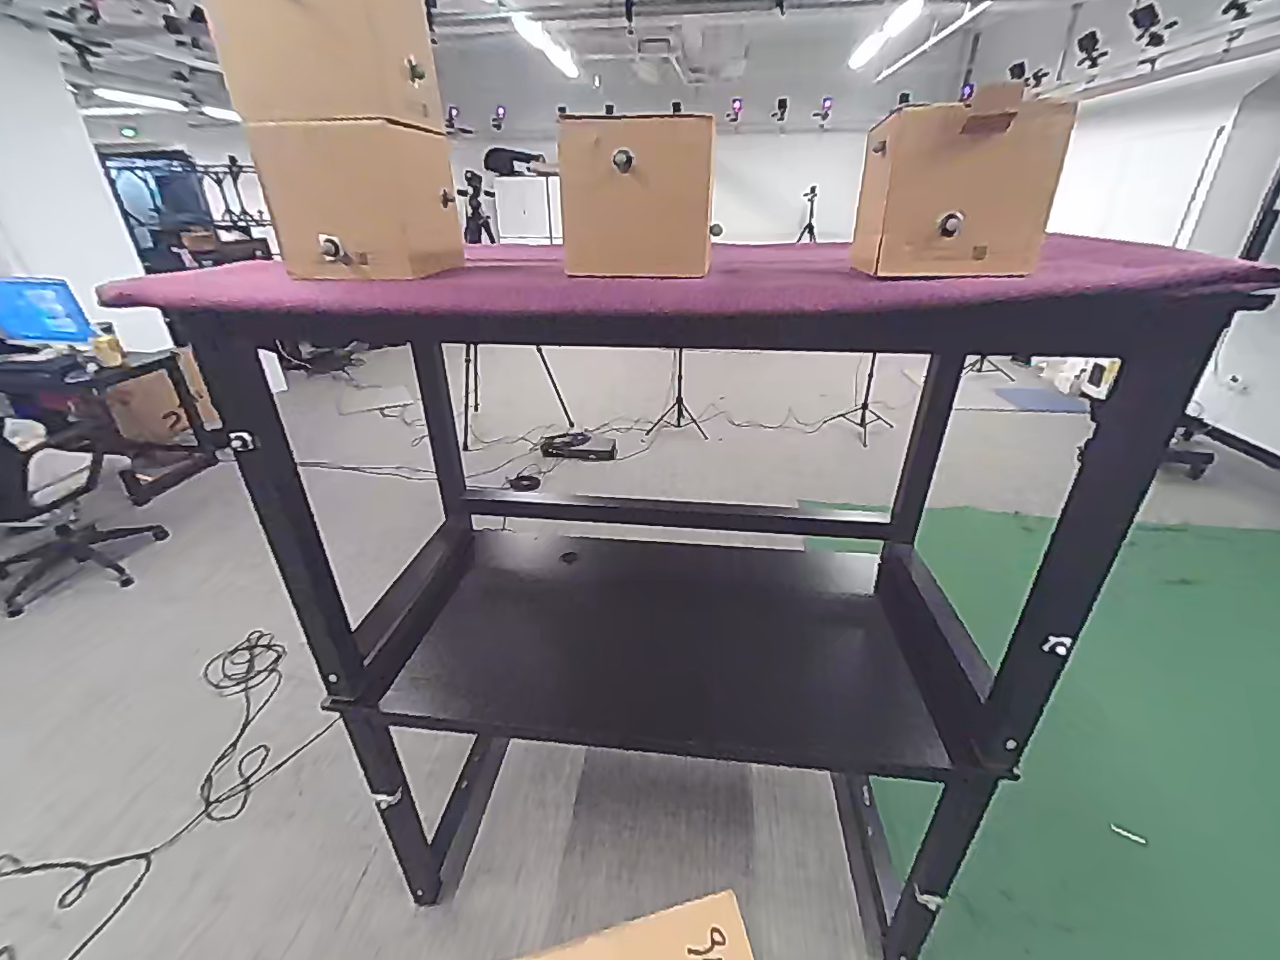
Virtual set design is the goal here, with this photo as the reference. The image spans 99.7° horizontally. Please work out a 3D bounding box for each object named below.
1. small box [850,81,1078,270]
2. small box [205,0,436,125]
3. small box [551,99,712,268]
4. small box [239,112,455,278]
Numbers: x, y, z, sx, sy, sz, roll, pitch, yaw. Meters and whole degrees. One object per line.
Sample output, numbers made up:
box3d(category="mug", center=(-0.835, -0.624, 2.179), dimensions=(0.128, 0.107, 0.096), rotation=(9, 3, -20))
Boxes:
box3d(category="small box", center=(0.355, -0.345, 0.637), dimensions=(0.168, 0.176, 0.179), rotation=(3, 26, 10))
box3d(category="small box", center=(-0.360, -0.507, 0.619), dimensions=(0.179, 0.176, 0.168), rotation=(0, 28, 3))
box3d(category="small box", center=(-0.001, -0.363, 0.686), dimensions=(0.179, 0.176, 0.168), rotation=(3, 27, 7))
box3d(category="small box", center=(-0.352, -0.360, 0.693), dimensions=(0.168, 0.176, 0.179), rotation=(0, 29, 4))
